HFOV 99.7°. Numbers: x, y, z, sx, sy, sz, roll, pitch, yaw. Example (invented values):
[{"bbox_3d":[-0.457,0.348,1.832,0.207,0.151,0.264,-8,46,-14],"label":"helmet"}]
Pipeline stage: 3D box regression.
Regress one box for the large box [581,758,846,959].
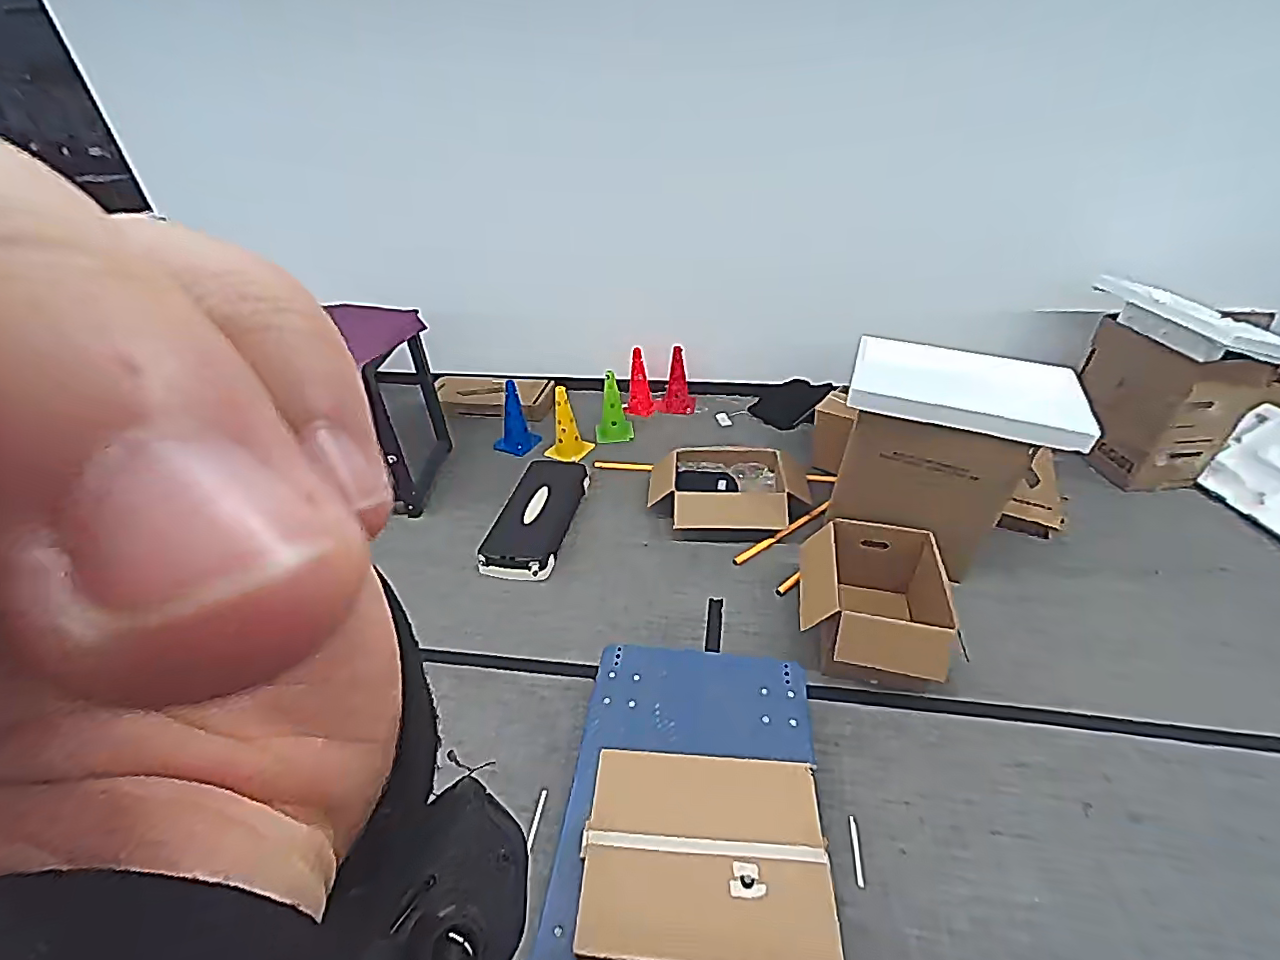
[{"bbox_3d":[0.116,0.756,1.004,0.408,0.320,0.320,2,37,4],"label":"large box"}]
